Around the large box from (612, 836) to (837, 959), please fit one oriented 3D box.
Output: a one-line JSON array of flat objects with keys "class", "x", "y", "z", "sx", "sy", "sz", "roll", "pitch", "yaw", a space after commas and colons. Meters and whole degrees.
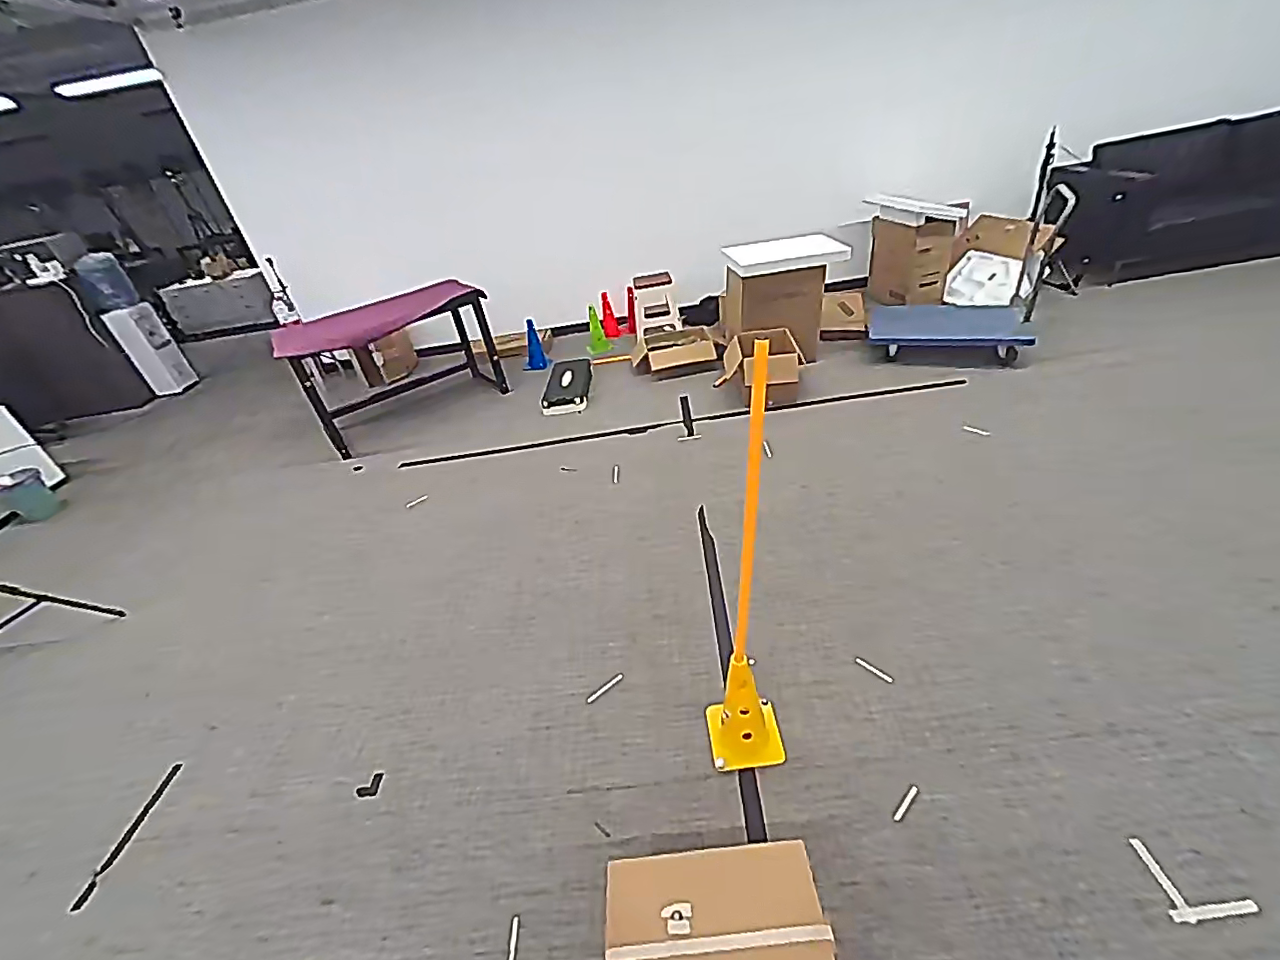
[{"class": "large box", "x": 0.173, "y": 0.963, "z": 1.065, "sx": 0.408, "sy": 0.320, "sz": 0.320, "roll": -10, "pitch": 33, "yaw": 4}]
